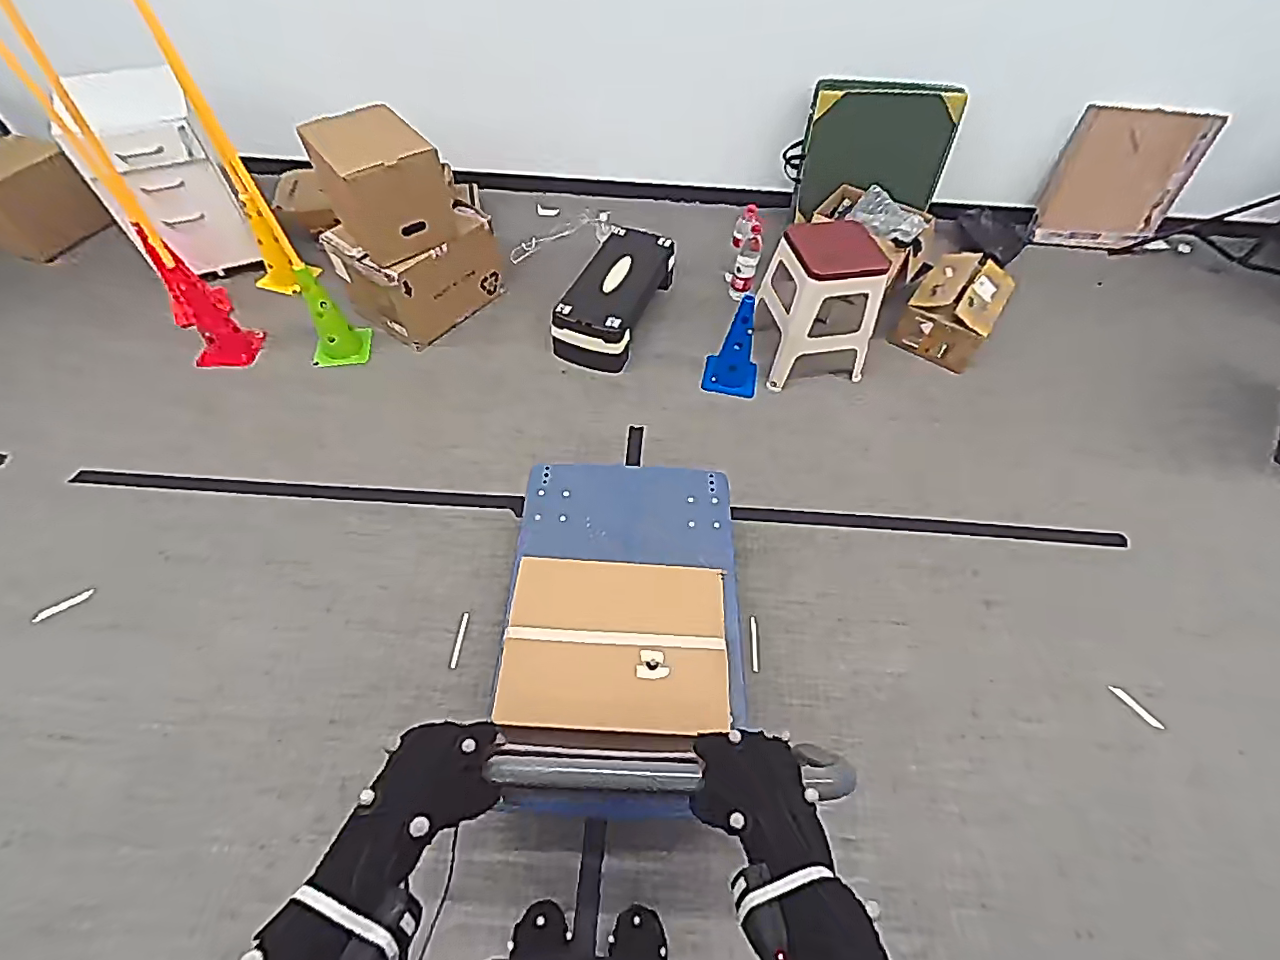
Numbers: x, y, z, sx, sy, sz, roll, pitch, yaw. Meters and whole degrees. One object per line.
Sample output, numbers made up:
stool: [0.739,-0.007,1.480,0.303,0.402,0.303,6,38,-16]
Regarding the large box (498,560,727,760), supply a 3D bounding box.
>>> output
large box: [-0.054,0.385,1.131,0.408,0.320,0.320,5,55,-2]
